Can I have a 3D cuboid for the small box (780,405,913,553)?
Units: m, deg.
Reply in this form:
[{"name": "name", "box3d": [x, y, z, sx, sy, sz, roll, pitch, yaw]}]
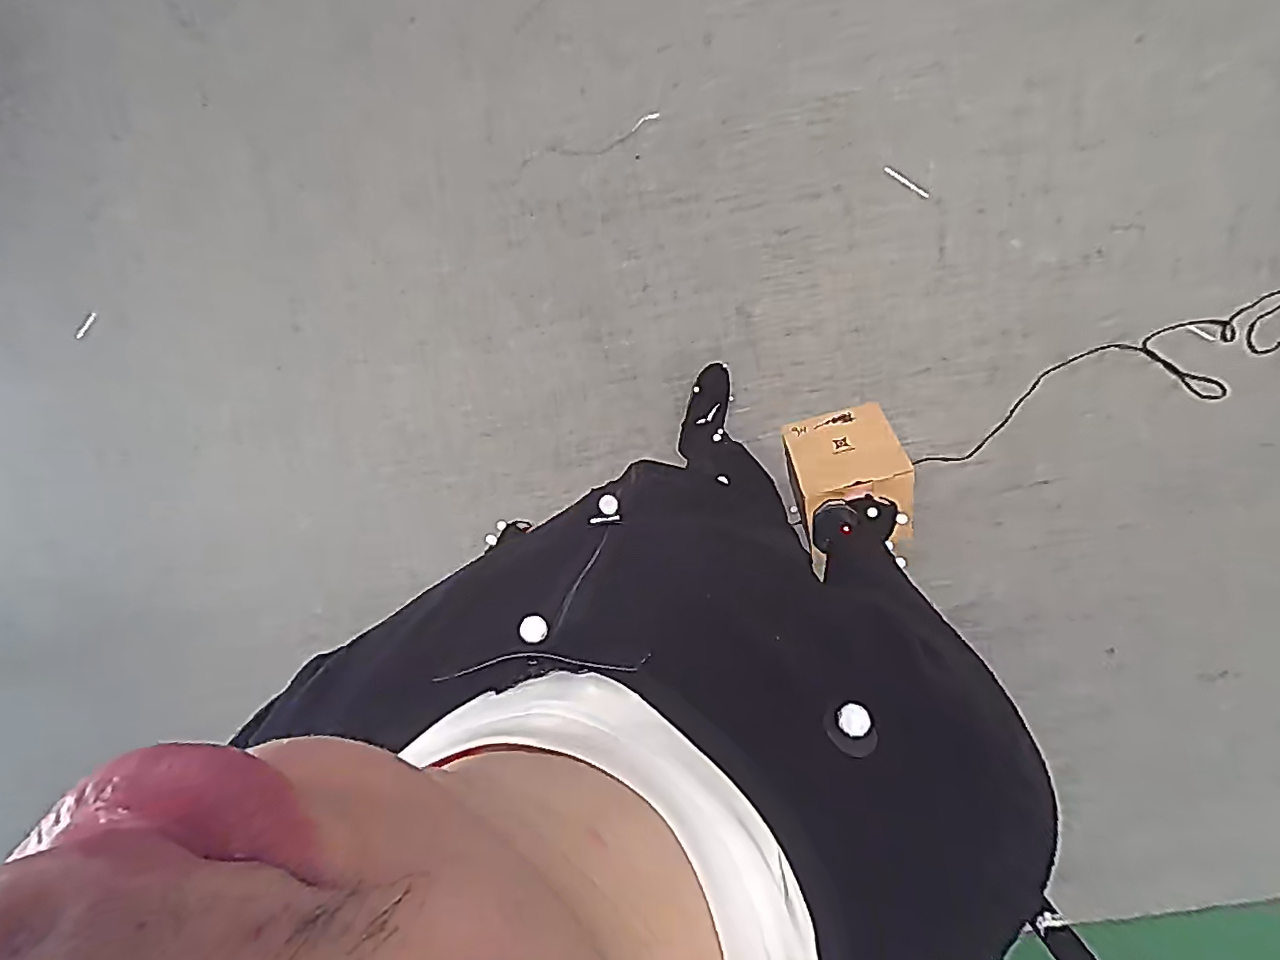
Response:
[{"name": "small box", "box3d": [0.356, 0.008, 0.932, 0.168, 0.179, 0.176, -17, 133, 11]}]
